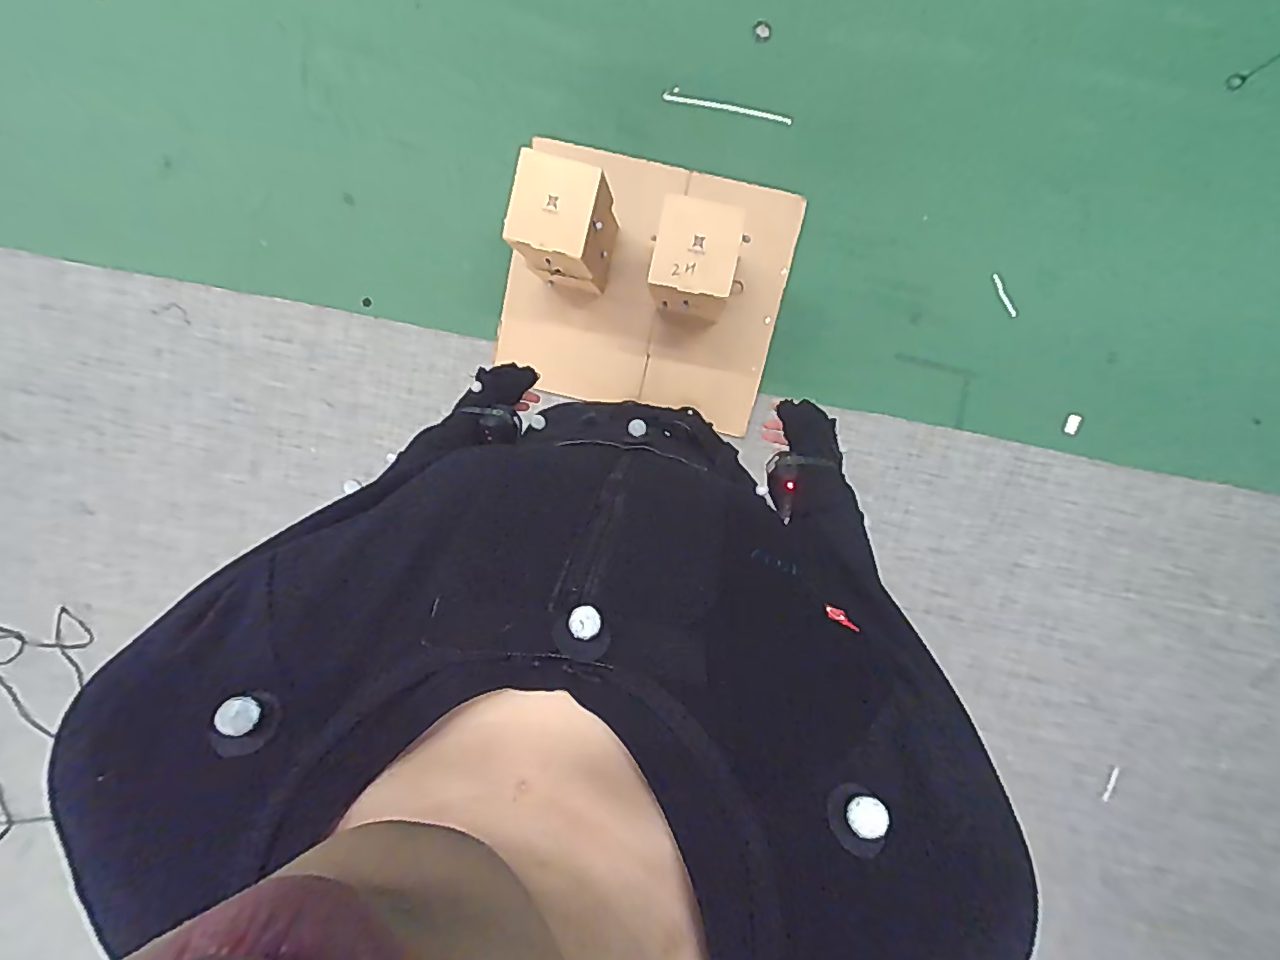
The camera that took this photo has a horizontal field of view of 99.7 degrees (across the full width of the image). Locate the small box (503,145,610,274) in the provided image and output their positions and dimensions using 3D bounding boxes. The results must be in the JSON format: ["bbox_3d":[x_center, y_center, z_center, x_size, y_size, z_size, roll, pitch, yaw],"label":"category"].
[{"bbox_3d":[-0.165,-0.553,1.127,0.168,0.176,0.179,16,100,1],"label":"small box"}]

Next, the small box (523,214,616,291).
[{"bbox_3d":[-0.161,-0.568,1.290,0.168,0.176,0.179,15,99,2],"label":"small box"}]

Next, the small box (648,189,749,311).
[{"bbox_3d":[0.116,-0.466,1.120,0.168,0.176,0.179,13,99,3],"label":"small box"}]
